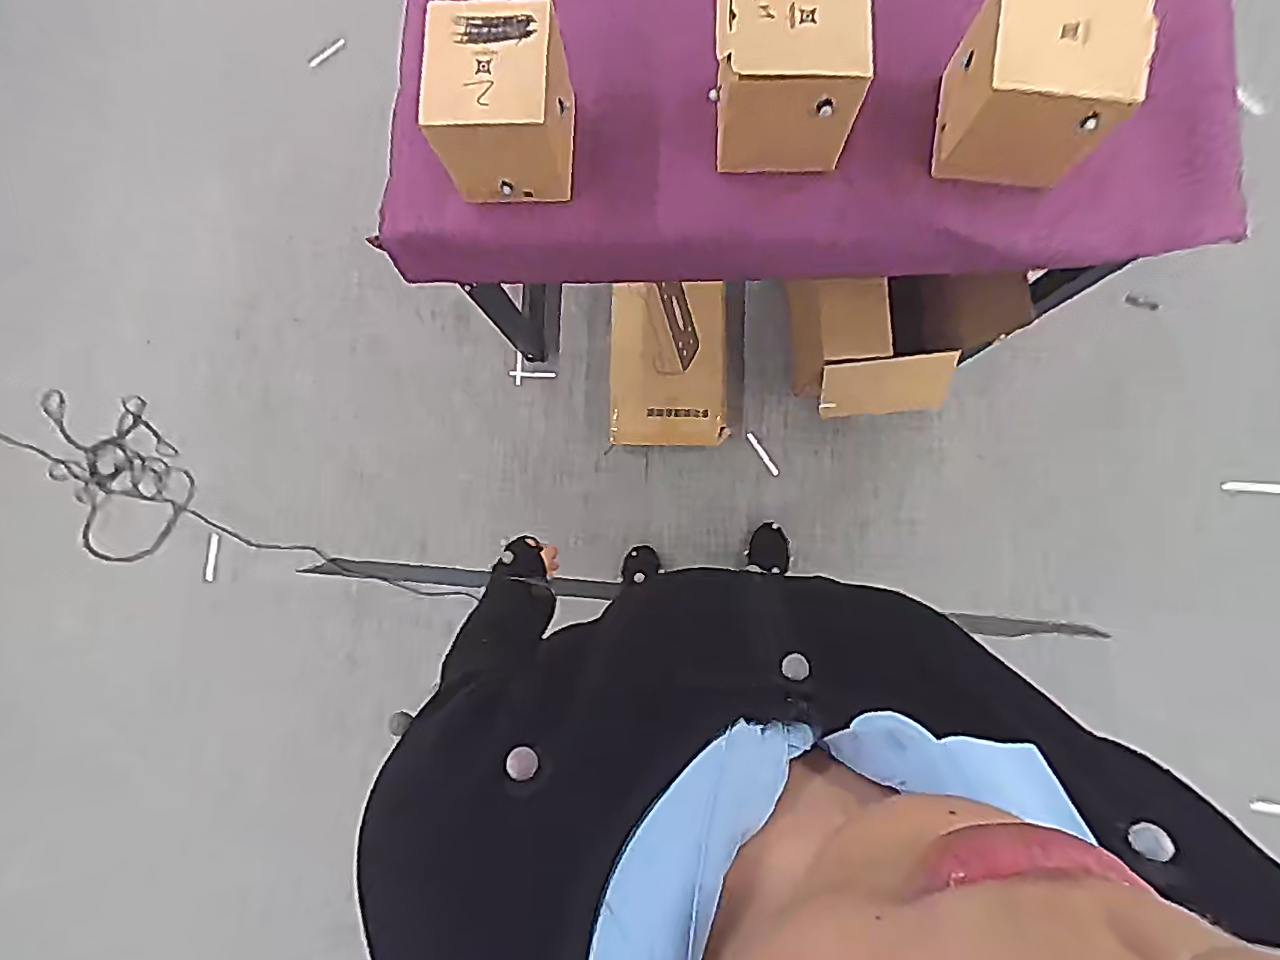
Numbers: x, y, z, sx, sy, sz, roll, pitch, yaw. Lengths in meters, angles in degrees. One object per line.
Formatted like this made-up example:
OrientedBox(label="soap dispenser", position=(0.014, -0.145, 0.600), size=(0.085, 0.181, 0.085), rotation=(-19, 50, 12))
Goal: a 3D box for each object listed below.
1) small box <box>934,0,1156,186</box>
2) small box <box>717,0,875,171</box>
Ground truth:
OrientedBox(label="small box", position=(0.519, -0.521, 0.716), size=(0.179, 0.176, 0.168), rotation=(8, 85, 4))
OrientedBox(label="small box", position=(0.202, -0.552, 0.740), size=(0.179, 0.176, 0.168), rotation=(1, 82, 4))
